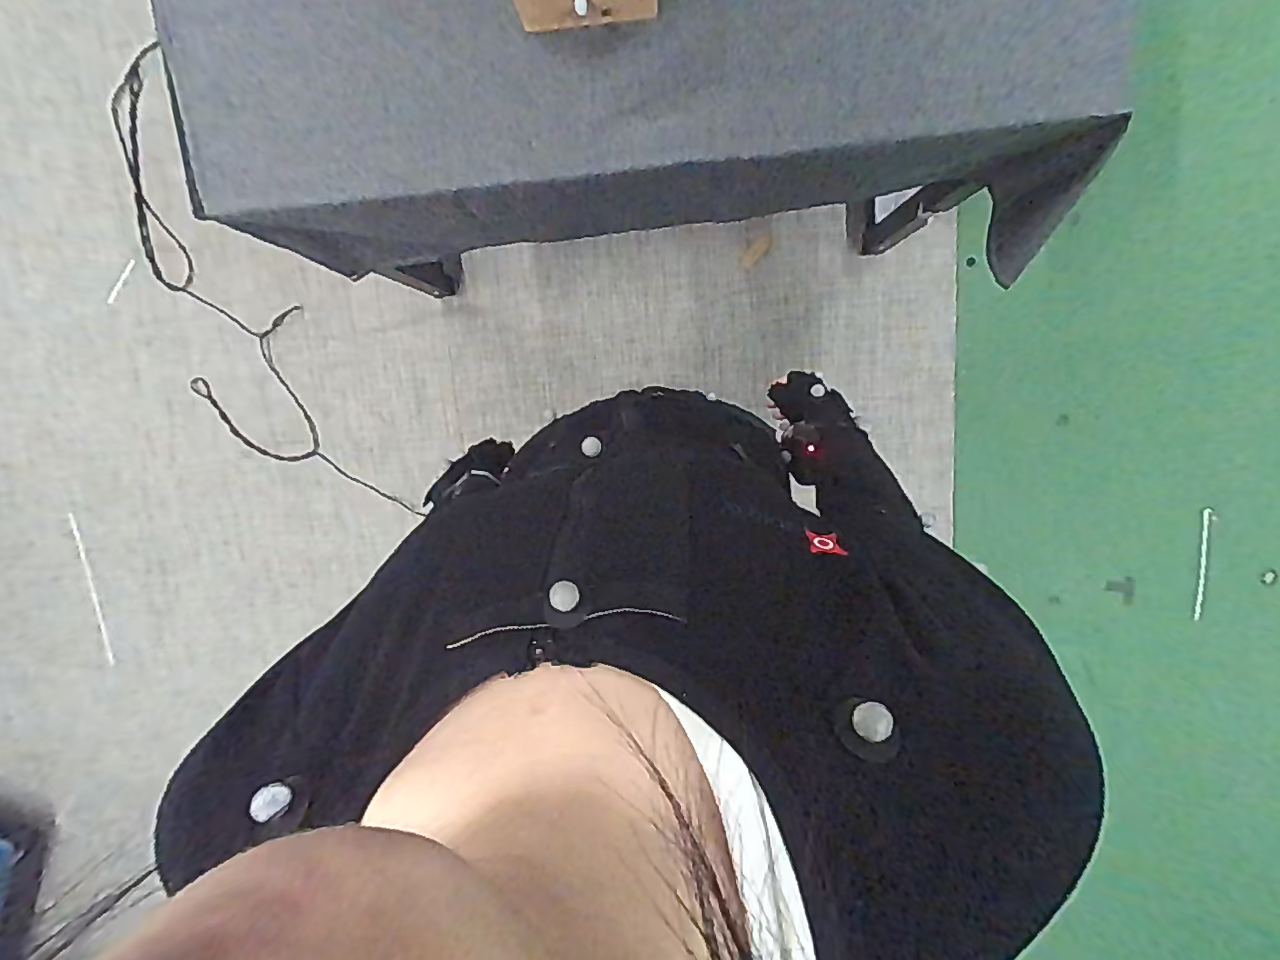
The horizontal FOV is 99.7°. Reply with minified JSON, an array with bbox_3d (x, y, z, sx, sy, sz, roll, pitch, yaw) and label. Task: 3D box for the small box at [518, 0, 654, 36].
[{"bbox_3d":[-0.071,-0.632,0.580,0.168,0.176,0.179,-4,98,3],"label":"small box"}]
